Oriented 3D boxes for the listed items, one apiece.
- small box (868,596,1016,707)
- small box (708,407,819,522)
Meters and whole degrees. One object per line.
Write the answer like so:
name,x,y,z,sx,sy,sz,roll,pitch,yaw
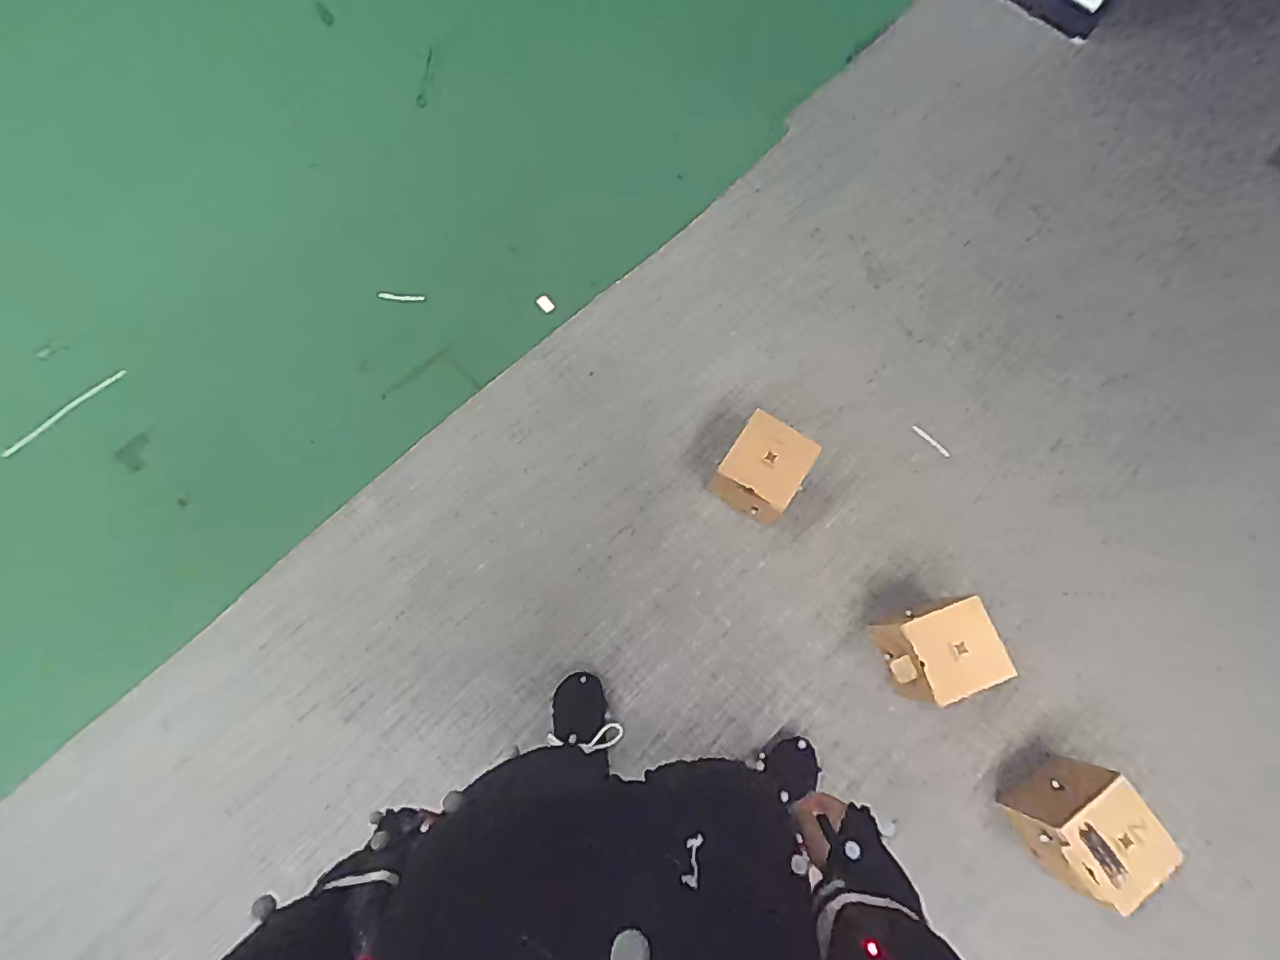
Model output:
small box,0.616,0.348,1.126,0.179,0.176,0.168,-19,77,-6
small box,0.267,-0.025,1.217,0.168,0.176,0.179,33,75,6
